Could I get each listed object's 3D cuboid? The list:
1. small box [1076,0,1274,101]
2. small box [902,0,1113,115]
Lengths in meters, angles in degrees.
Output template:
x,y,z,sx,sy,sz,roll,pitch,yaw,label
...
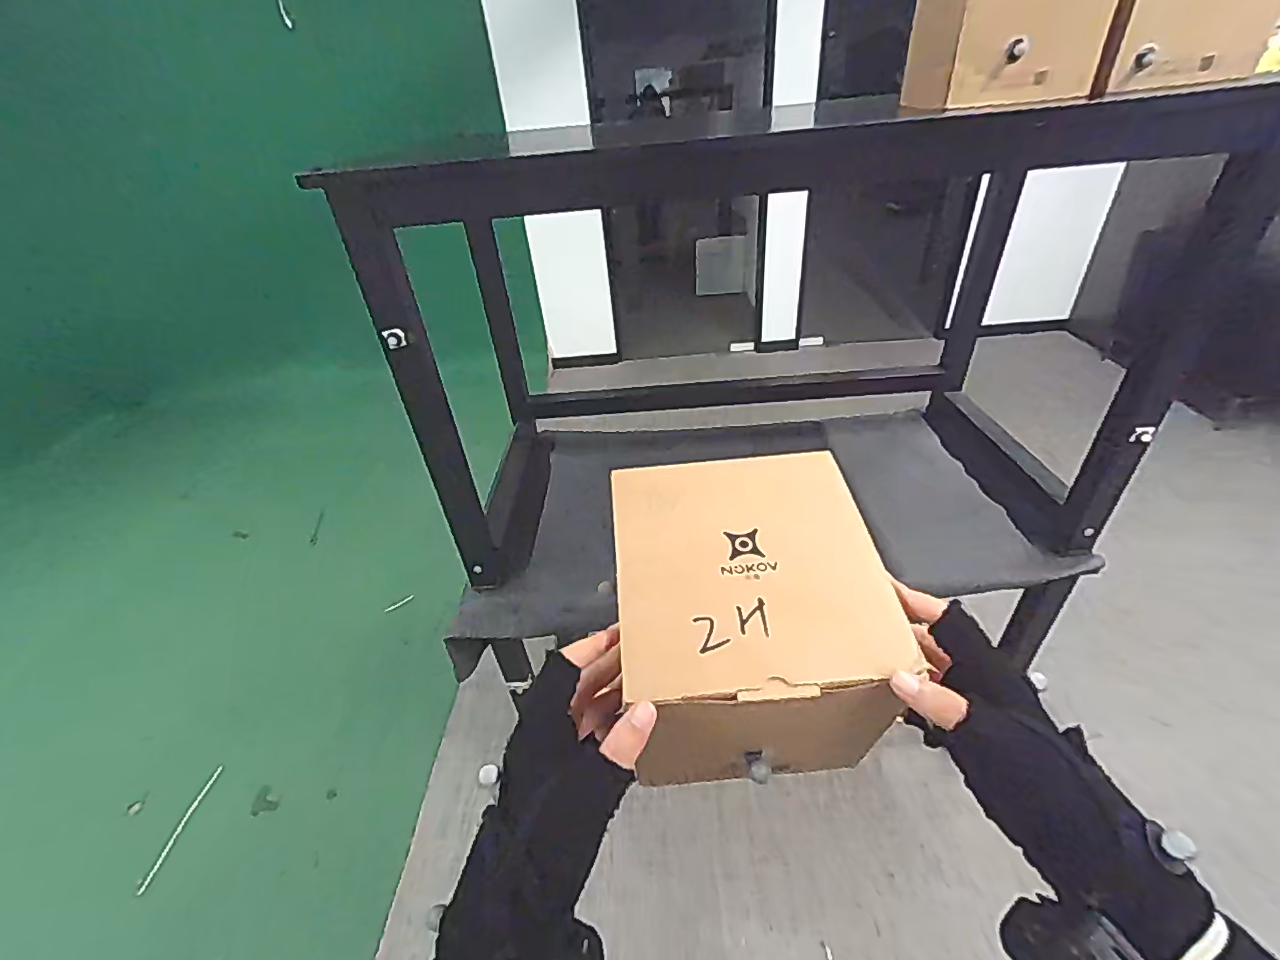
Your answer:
x,y,z,sx,sy,sz,roll,pitch,yaw,label
0.637,-0.582,0.674,0.168,0.176,0.179,-2,34,6,small box
0.456,-0.570,0.688,0.168,0.176,0.179,-1,36,6,small box
